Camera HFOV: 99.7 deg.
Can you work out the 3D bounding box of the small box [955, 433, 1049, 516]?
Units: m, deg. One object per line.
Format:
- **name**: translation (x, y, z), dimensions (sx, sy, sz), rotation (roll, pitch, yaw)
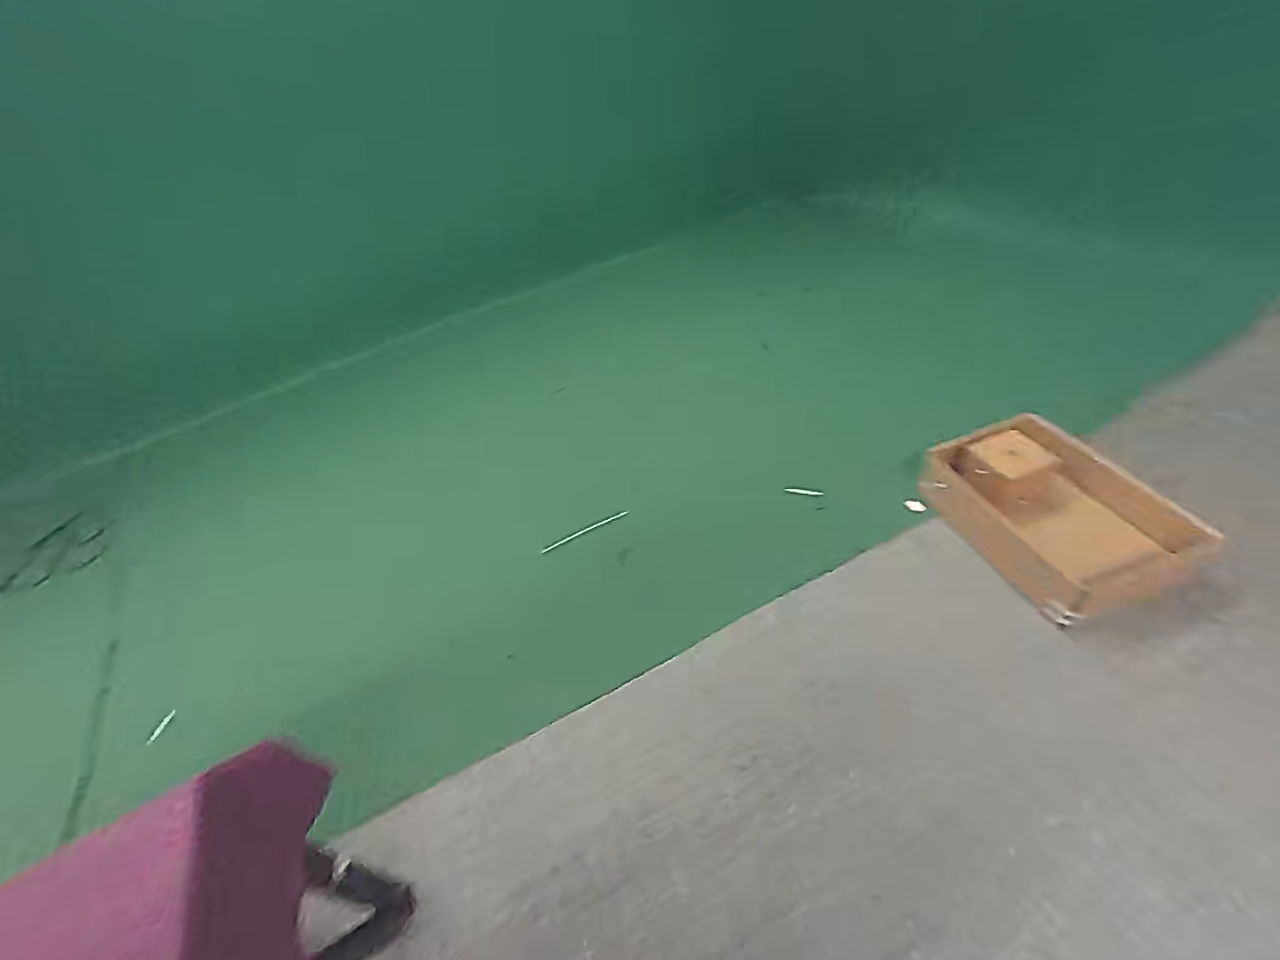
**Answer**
- **small box**: translation (1.147, -0.016, 1.732), dimensions (0.168, 0.176, 0.179), rotation (-21, 43, -4)
